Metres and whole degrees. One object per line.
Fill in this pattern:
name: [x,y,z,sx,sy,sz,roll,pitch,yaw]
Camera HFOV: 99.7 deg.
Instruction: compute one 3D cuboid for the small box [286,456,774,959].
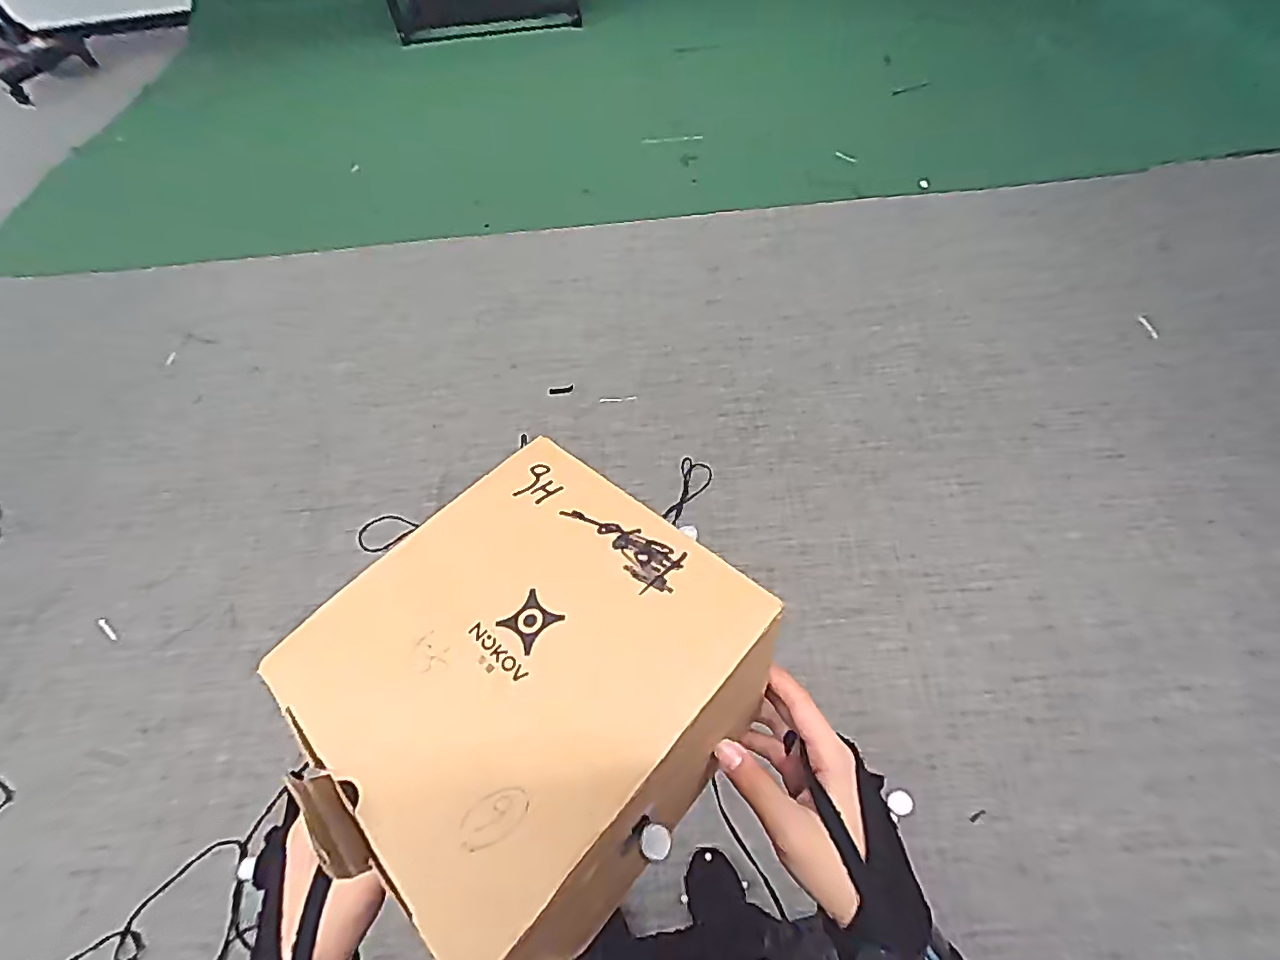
small box: [-0.043,0.127,0.311,0.168,0.176,0.179,33,64,28]
